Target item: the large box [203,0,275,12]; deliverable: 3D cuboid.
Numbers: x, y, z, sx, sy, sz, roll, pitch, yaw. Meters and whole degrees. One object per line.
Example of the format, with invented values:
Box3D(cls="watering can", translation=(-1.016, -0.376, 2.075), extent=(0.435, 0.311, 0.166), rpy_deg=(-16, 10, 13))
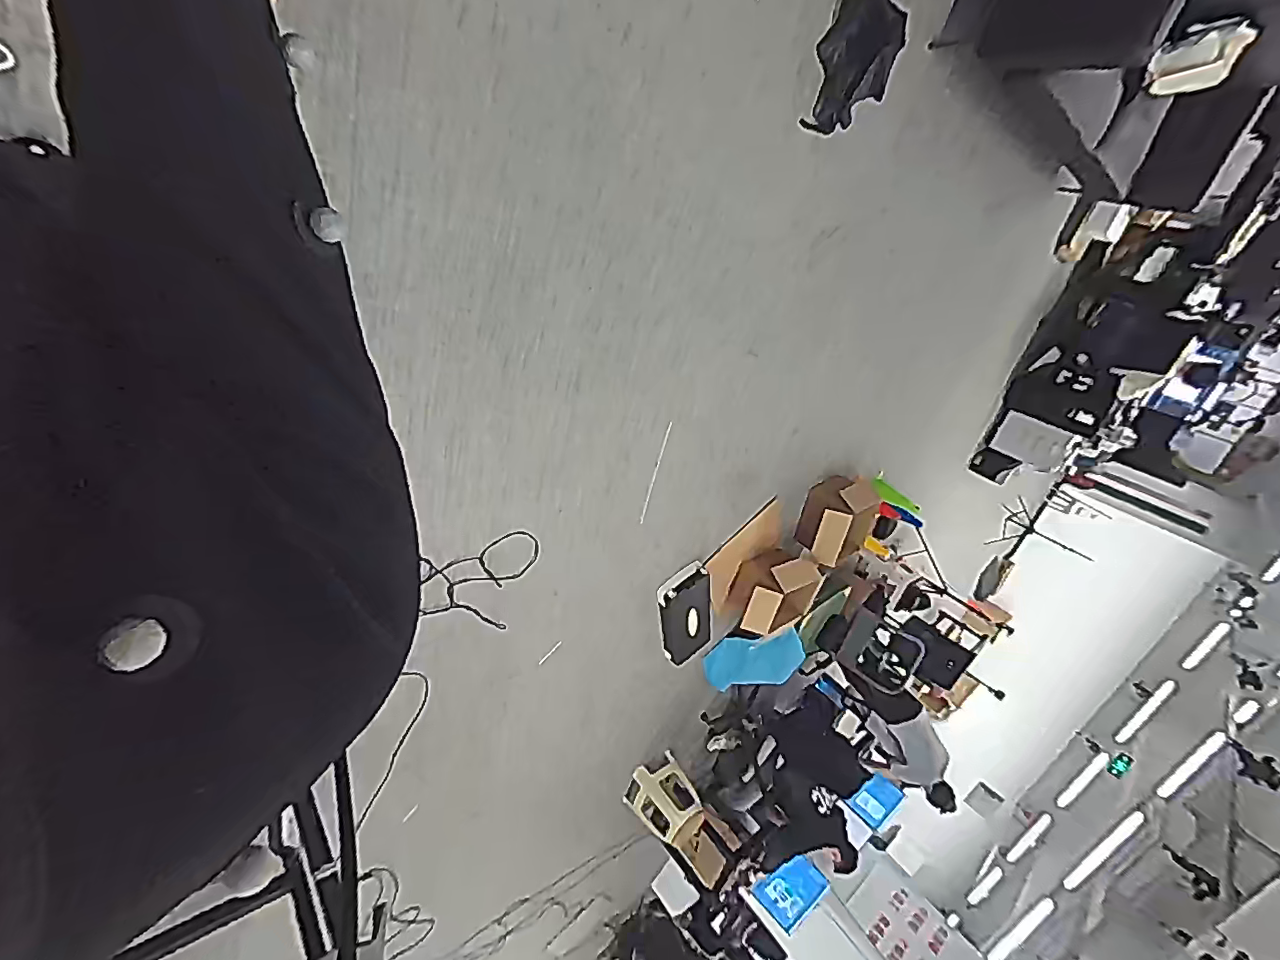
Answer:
Box3D(cls="large box", translation=(-0.671, -0.839, 0.621), extent=(0.408, 0.320, 0.320), rpy_deg=(0, 120, -47))
